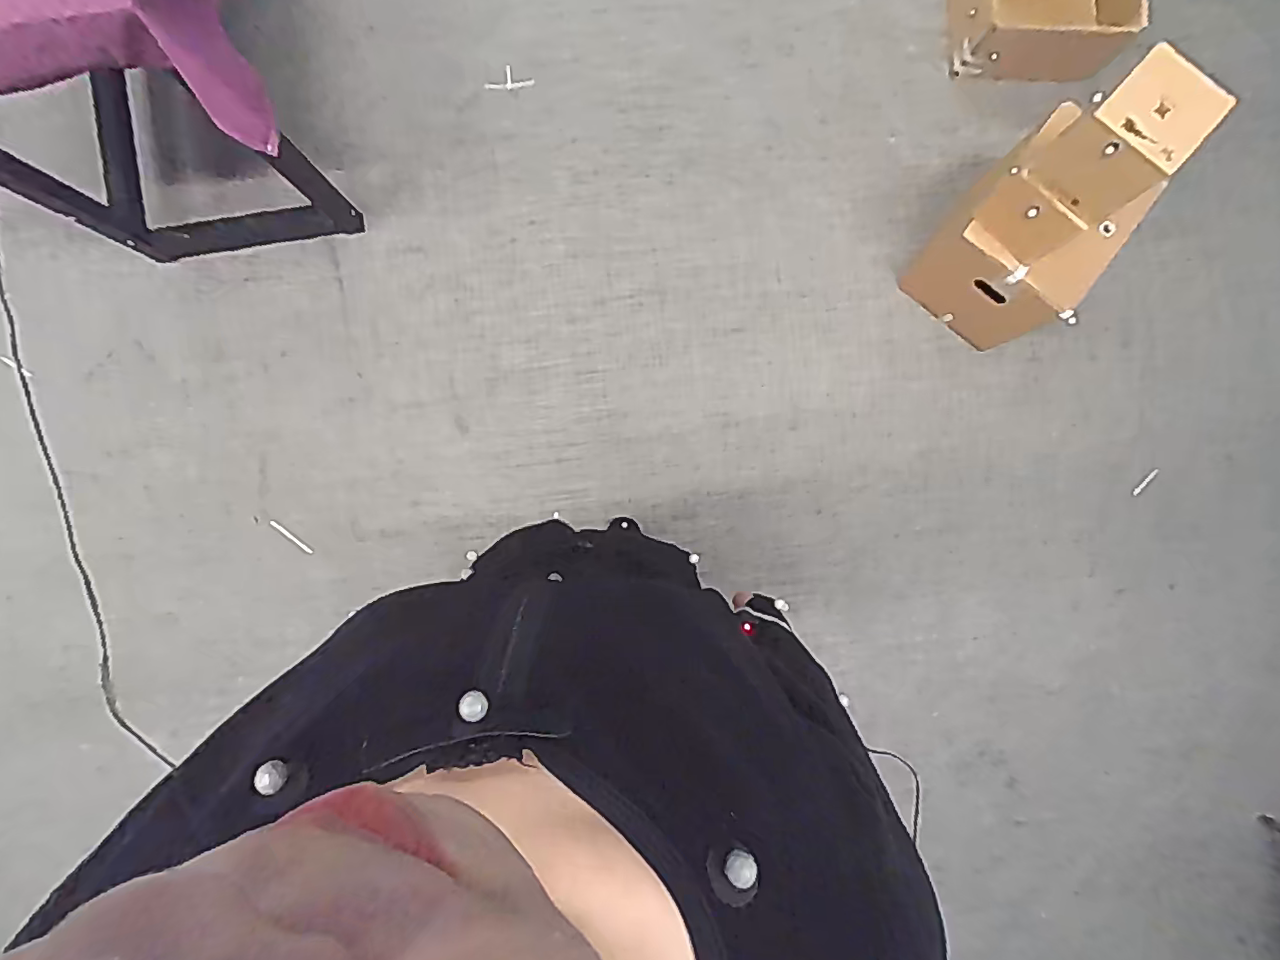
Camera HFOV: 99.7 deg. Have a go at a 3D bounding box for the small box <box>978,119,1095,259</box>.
[{"bbox_3d":[0.878,-0.599,1.146,0.168,0.176,0.179,-43,87,-1],"label":"small box"}]

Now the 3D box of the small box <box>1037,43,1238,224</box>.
[{"bbox_3d":[0.885,-0.615,0.982,0.168,0.176,0.179,43,88,3],"label":"small box"}]
